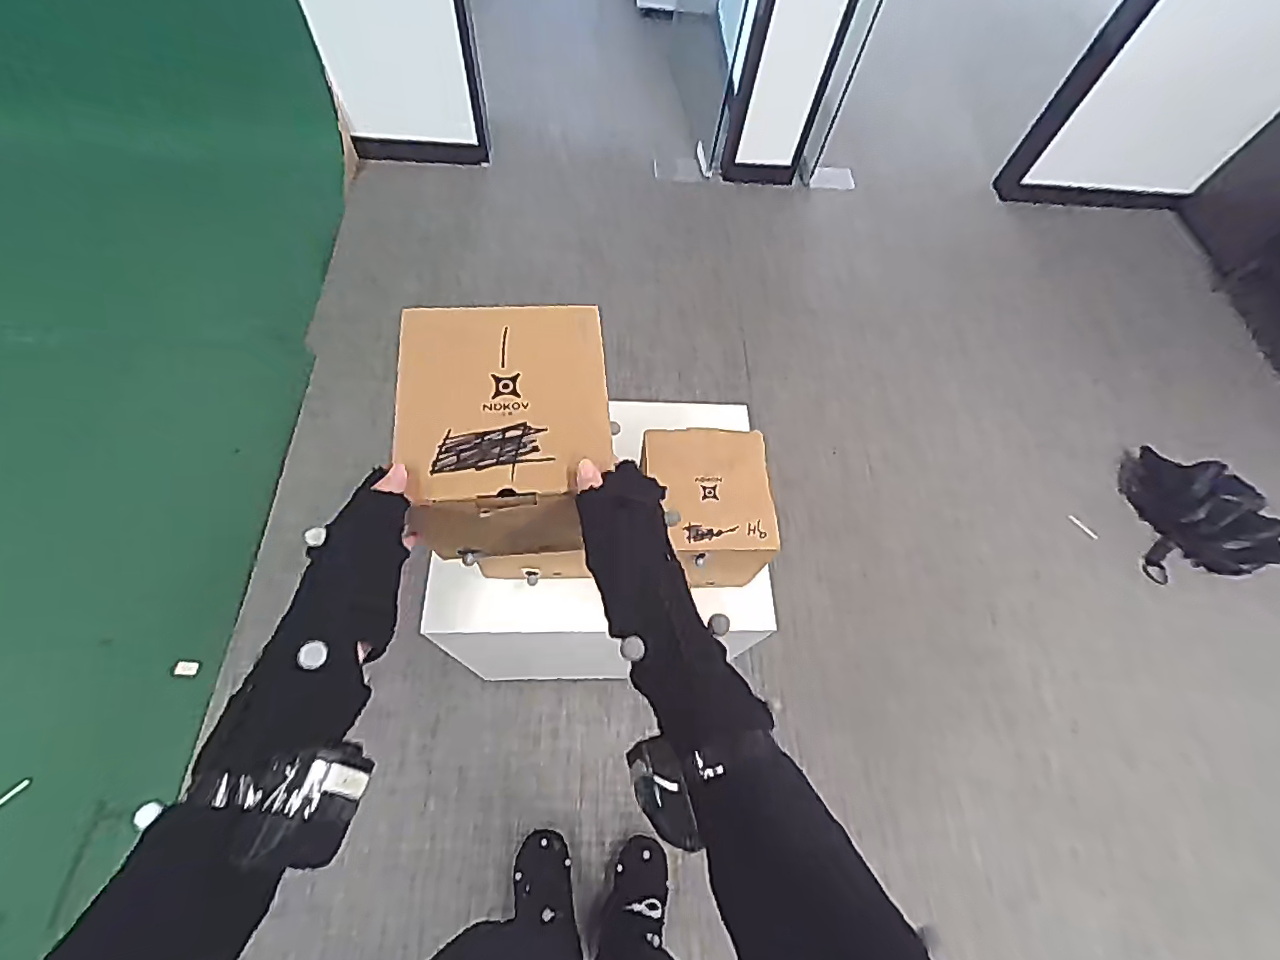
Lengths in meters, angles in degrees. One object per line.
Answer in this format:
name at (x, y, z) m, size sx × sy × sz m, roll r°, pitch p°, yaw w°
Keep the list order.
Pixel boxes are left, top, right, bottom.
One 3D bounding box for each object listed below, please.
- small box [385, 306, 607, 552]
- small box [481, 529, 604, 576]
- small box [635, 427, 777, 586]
small box at (-0.119, -0.036, 0.501) m, size 0.168 × 0.176 × 0.179 m, roll -4°, pitch 68°, yaw -8°
small box at (-0.137, 0.024, 0.750) m, size 0.168 × 0.176 × 0.179 m, roll -1°, pitch 65°, yaw -6°
small box at (0.082, 0.043, 0.776) m, size 0.168 × 0.176 × 0.179 m, roll 1°, pitch 63°, yaw -5°
